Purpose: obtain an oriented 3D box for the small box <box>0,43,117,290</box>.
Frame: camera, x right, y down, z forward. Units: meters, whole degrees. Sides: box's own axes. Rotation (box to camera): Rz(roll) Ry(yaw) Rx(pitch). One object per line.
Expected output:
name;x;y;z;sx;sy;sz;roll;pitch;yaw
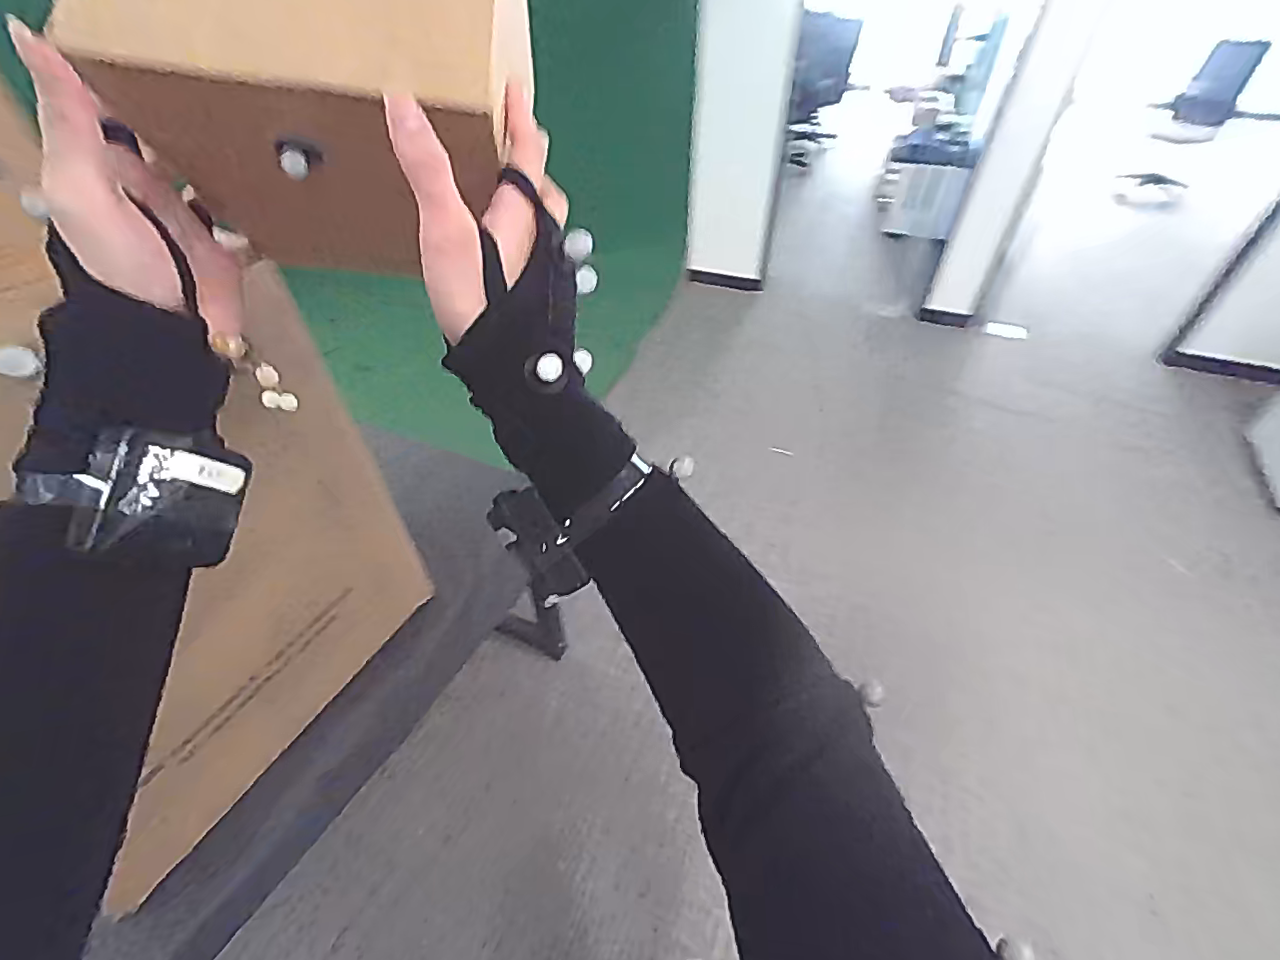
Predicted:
small box;-0.599;-0.263;0.450;0.168;0.176;0.179;30;53;26
